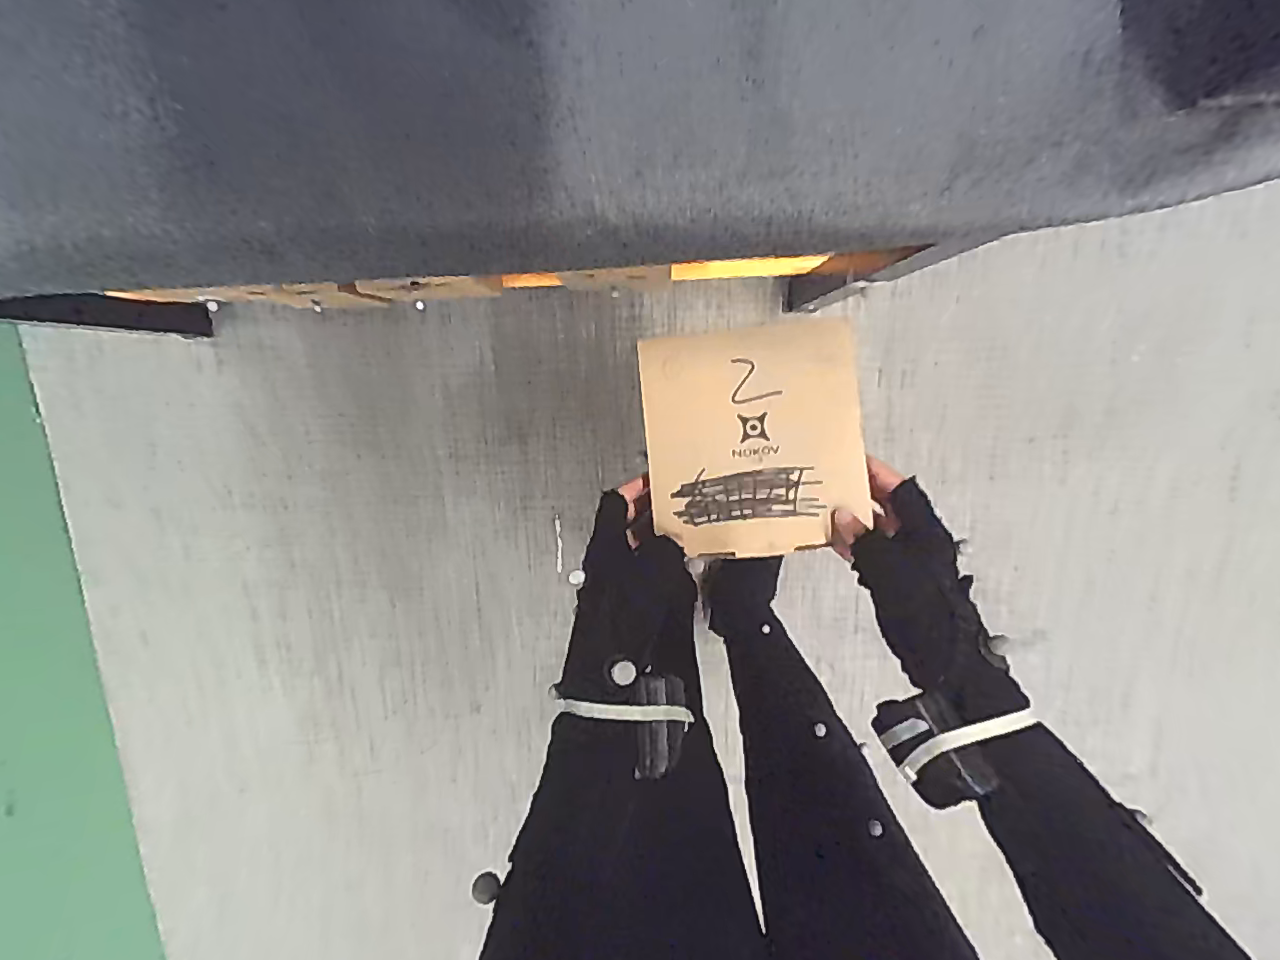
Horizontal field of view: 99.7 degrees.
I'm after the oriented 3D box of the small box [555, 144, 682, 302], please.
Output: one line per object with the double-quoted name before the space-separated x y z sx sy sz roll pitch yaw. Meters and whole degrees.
"small box" -0.028 -0.367 0.799 0.168 0.176 0.179 3 103 2
